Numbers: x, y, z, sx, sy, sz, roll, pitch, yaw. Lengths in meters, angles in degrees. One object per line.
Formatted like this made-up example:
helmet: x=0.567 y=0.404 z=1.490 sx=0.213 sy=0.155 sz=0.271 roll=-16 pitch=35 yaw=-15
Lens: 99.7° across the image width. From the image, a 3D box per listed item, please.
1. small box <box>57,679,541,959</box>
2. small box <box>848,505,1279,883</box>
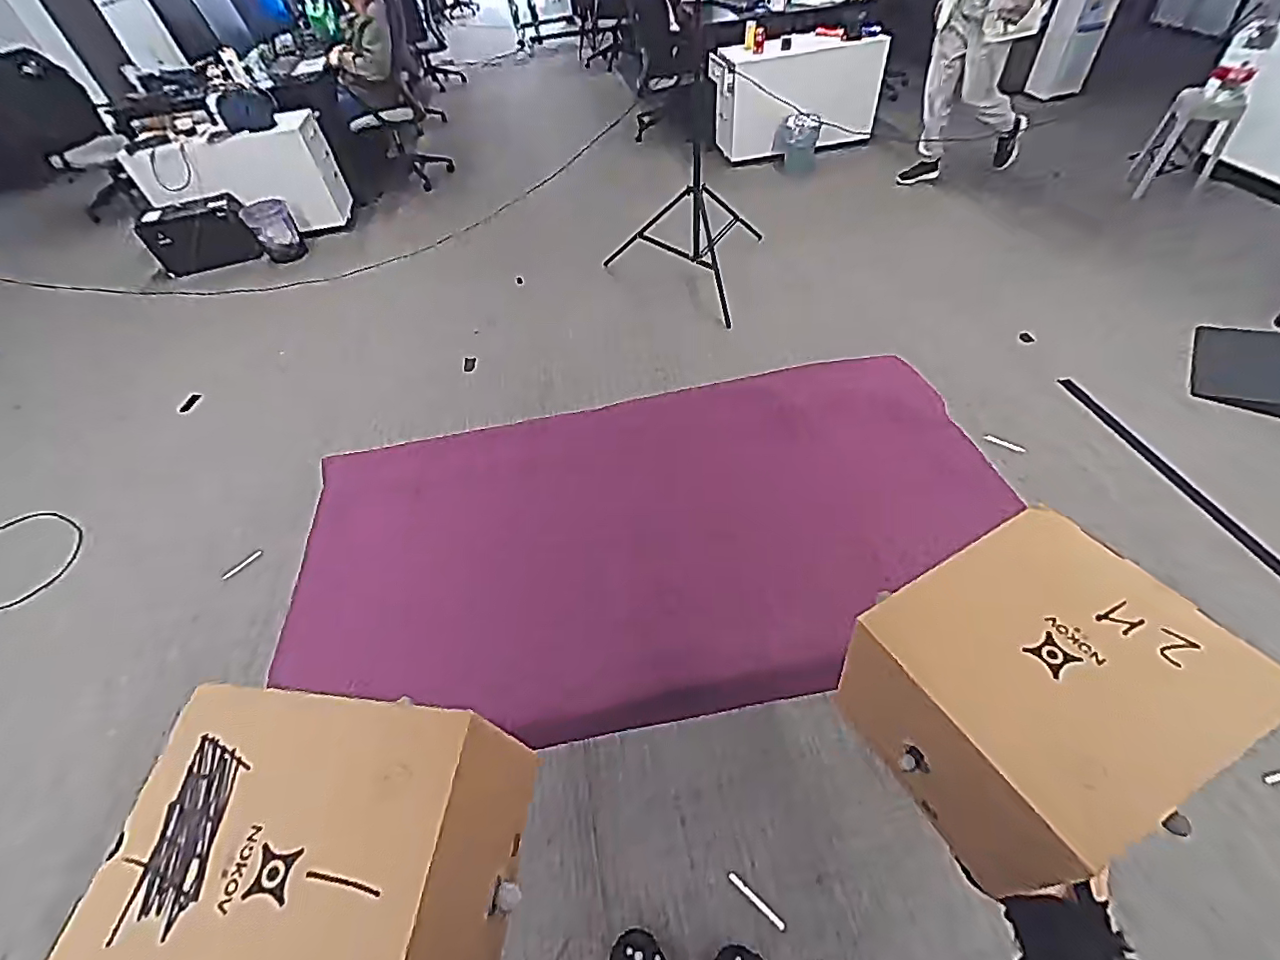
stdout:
small box: x=-0.178 y=0.237 z=0.337 sx=0.179 sy=0.176 sz=0.168 roll=3 pitch=56 yaw=7
small box: x=0.273 y=0.158 z=0.394 sx=0.179 sy=0.176 sz=0.168 roll=-27 pitch=50 yaw=-11
